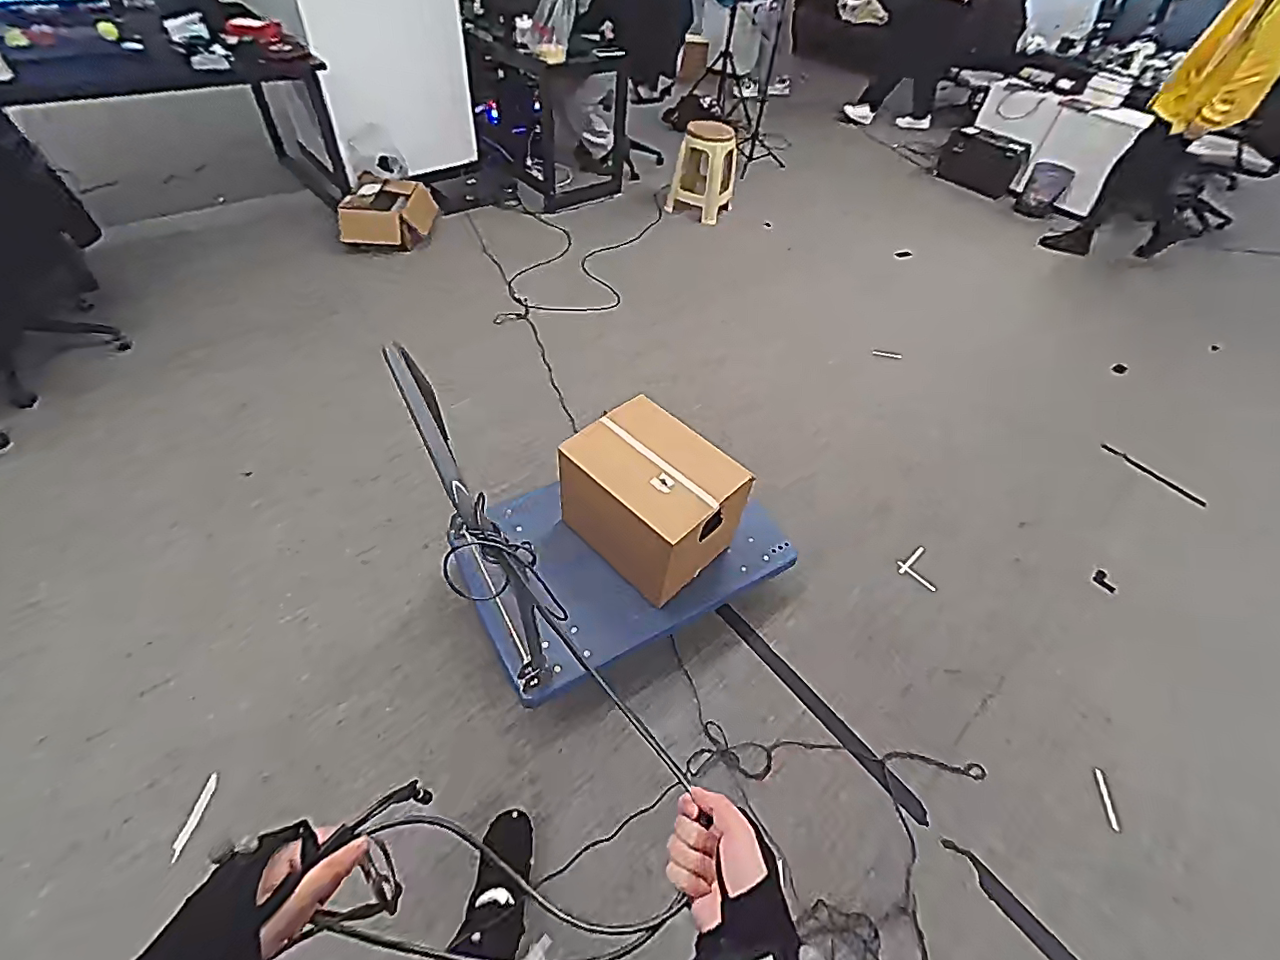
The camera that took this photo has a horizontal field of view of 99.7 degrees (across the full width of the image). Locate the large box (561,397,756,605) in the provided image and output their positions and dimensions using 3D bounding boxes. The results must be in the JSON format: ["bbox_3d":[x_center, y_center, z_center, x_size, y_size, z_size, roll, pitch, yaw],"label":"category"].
[{"bbox_3d":[0.030,0.052,1.463,0.408,0.320,0.320,39,58,23],"label":"large box"}]
